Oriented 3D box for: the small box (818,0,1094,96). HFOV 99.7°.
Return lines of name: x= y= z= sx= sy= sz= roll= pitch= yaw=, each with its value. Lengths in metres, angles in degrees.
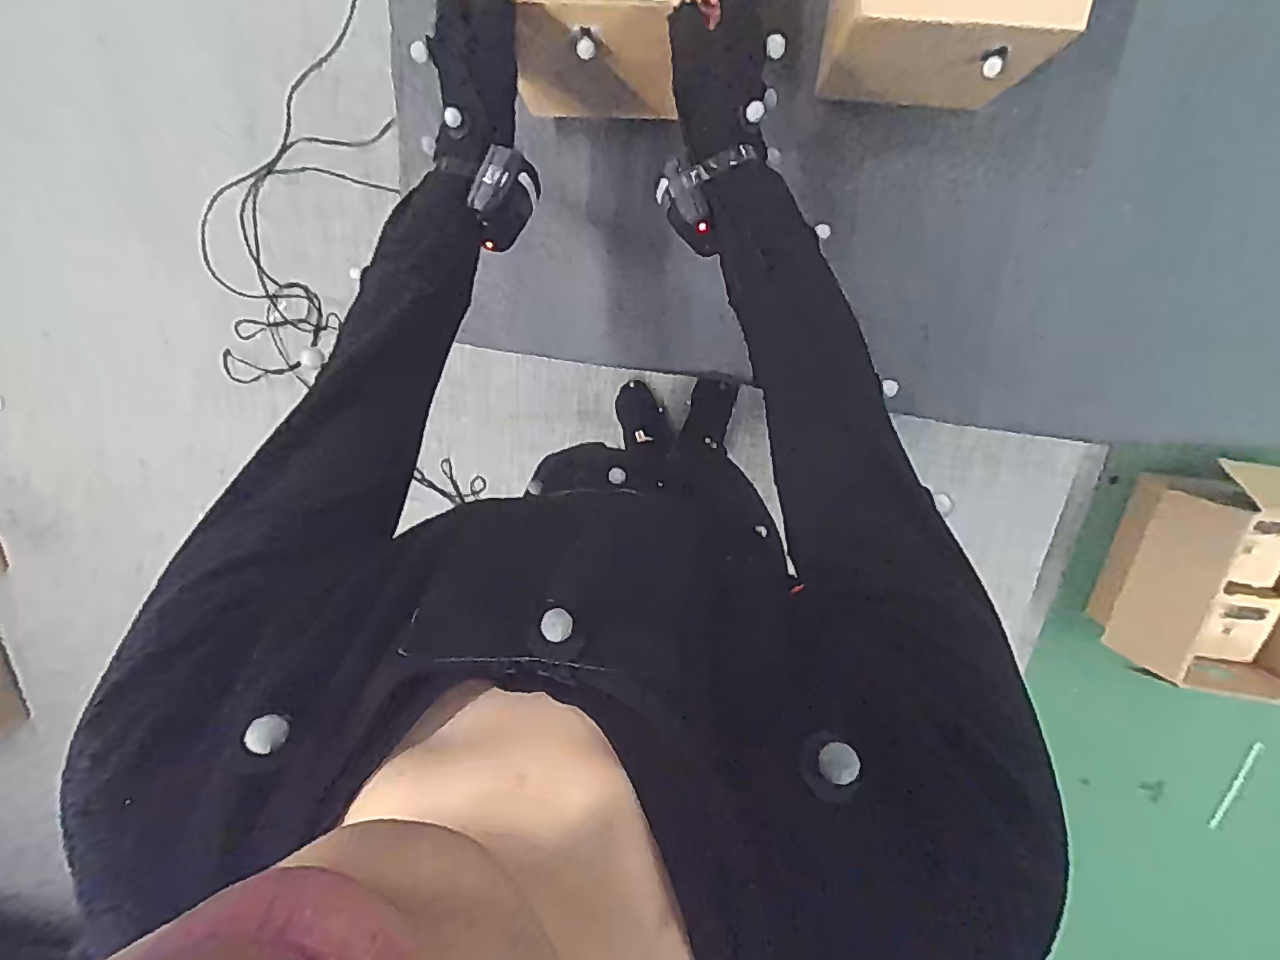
small box: x=0.269 y=-0.457 z=0.465 sx=0.179 sy=0.176 sz=0.168 roll=7 pitch=108 yaw=5
